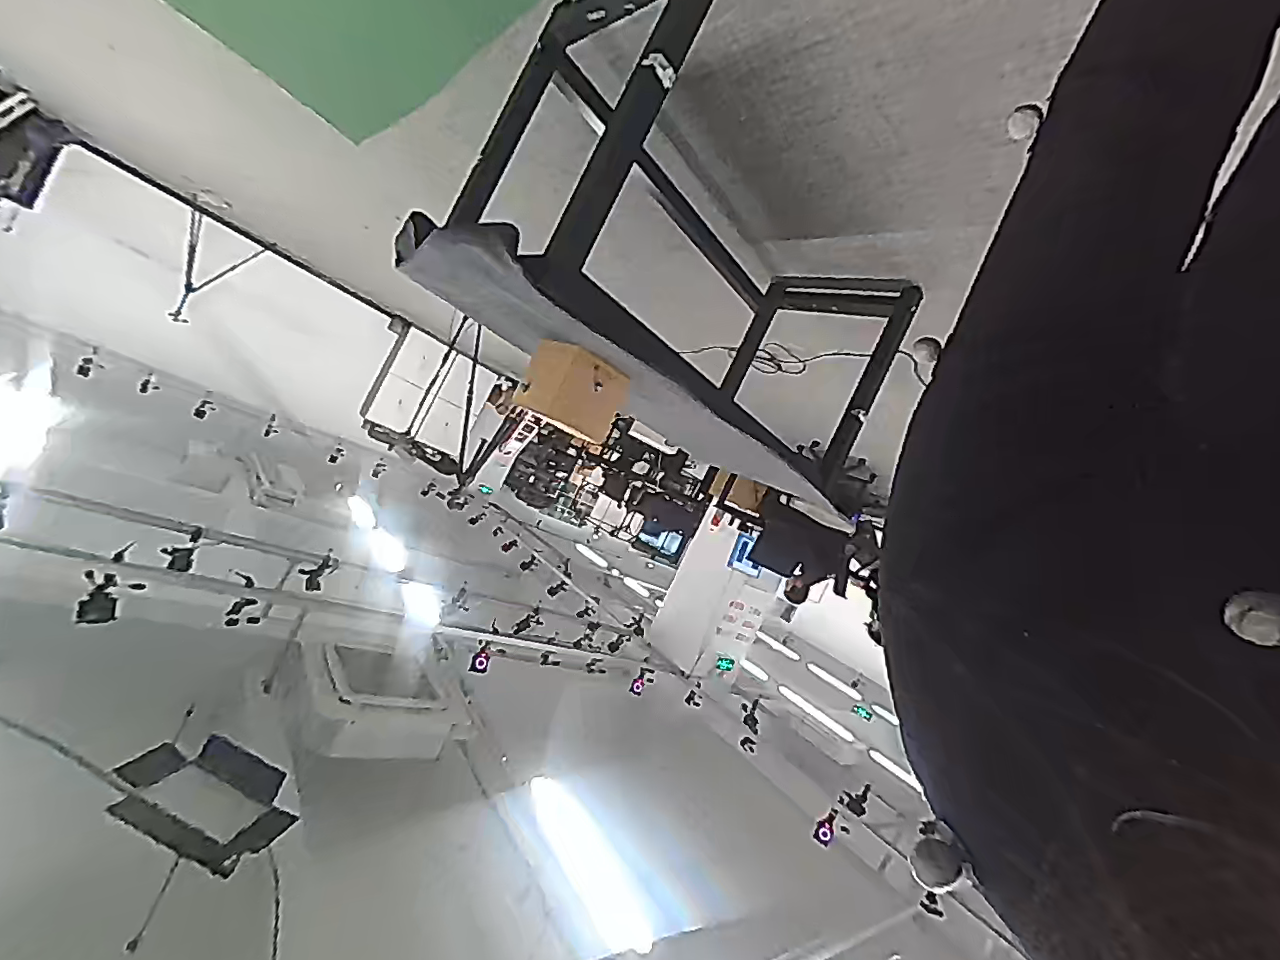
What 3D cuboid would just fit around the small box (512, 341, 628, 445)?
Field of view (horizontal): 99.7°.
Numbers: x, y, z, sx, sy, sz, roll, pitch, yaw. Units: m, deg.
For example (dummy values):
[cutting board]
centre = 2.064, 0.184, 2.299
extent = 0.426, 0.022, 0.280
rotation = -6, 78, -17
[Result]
[small box]
centre = -0.159, -0.205, 1.249
extent = 0.168, 0.176, 0.179
rotation = 27, 178, -43
